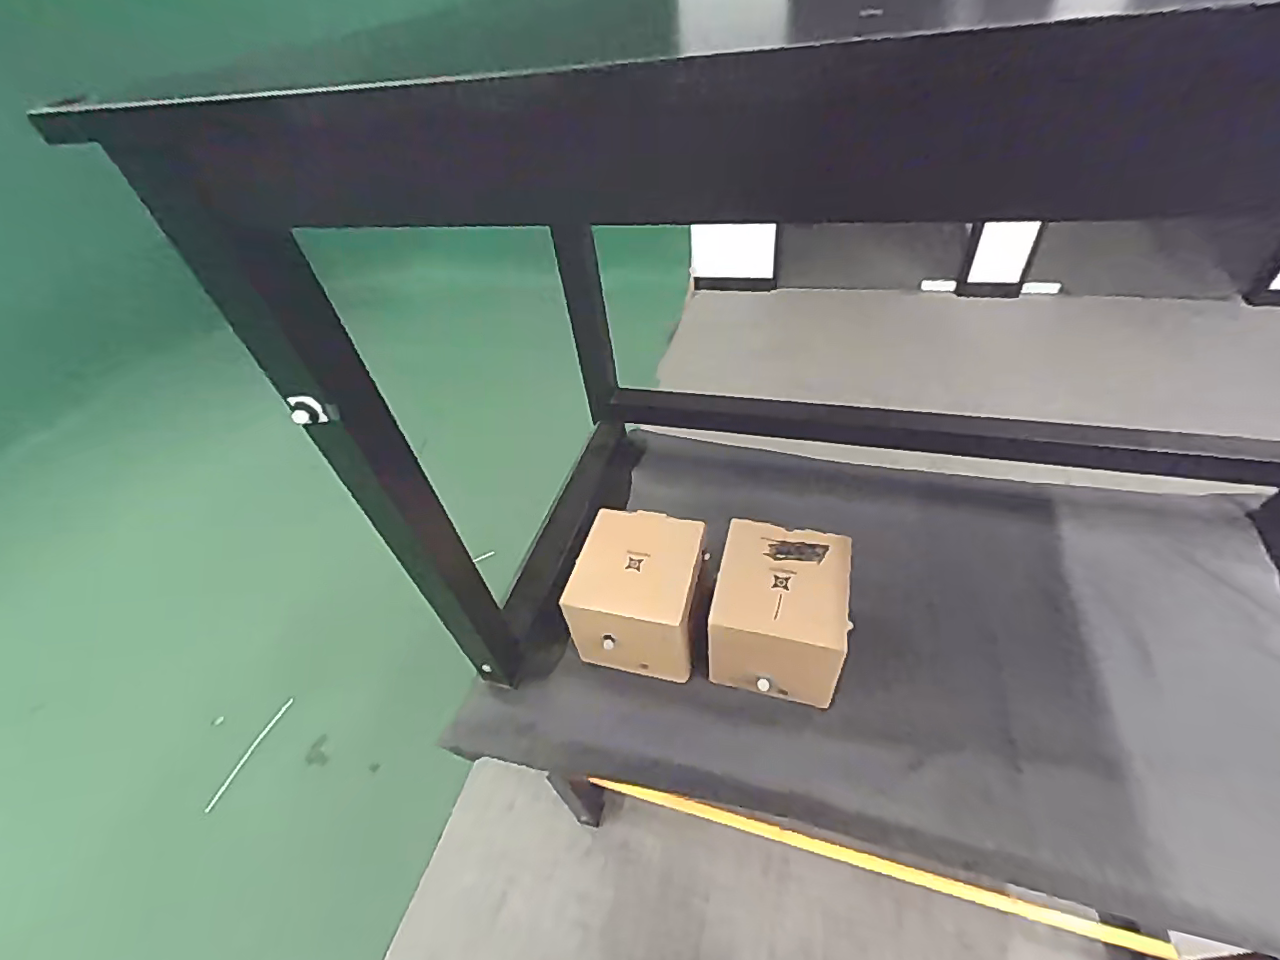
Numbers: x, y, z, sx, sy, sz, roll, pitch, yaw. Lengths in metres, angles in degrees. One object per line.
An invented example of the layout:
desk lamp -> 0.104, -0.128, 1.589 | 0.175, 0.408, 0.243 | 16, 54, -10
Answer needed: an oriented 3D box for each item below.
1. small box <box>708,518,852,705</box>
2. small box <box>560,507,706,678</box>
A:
small box -> 0.193, 0.181, 0.754 | 0.168, 0.176, 0.179 | 7, 47, 17
small box -> 0.002, 0.167, 0.801 | 0.168, 0.176, 0.179 | 7, 46, 15
